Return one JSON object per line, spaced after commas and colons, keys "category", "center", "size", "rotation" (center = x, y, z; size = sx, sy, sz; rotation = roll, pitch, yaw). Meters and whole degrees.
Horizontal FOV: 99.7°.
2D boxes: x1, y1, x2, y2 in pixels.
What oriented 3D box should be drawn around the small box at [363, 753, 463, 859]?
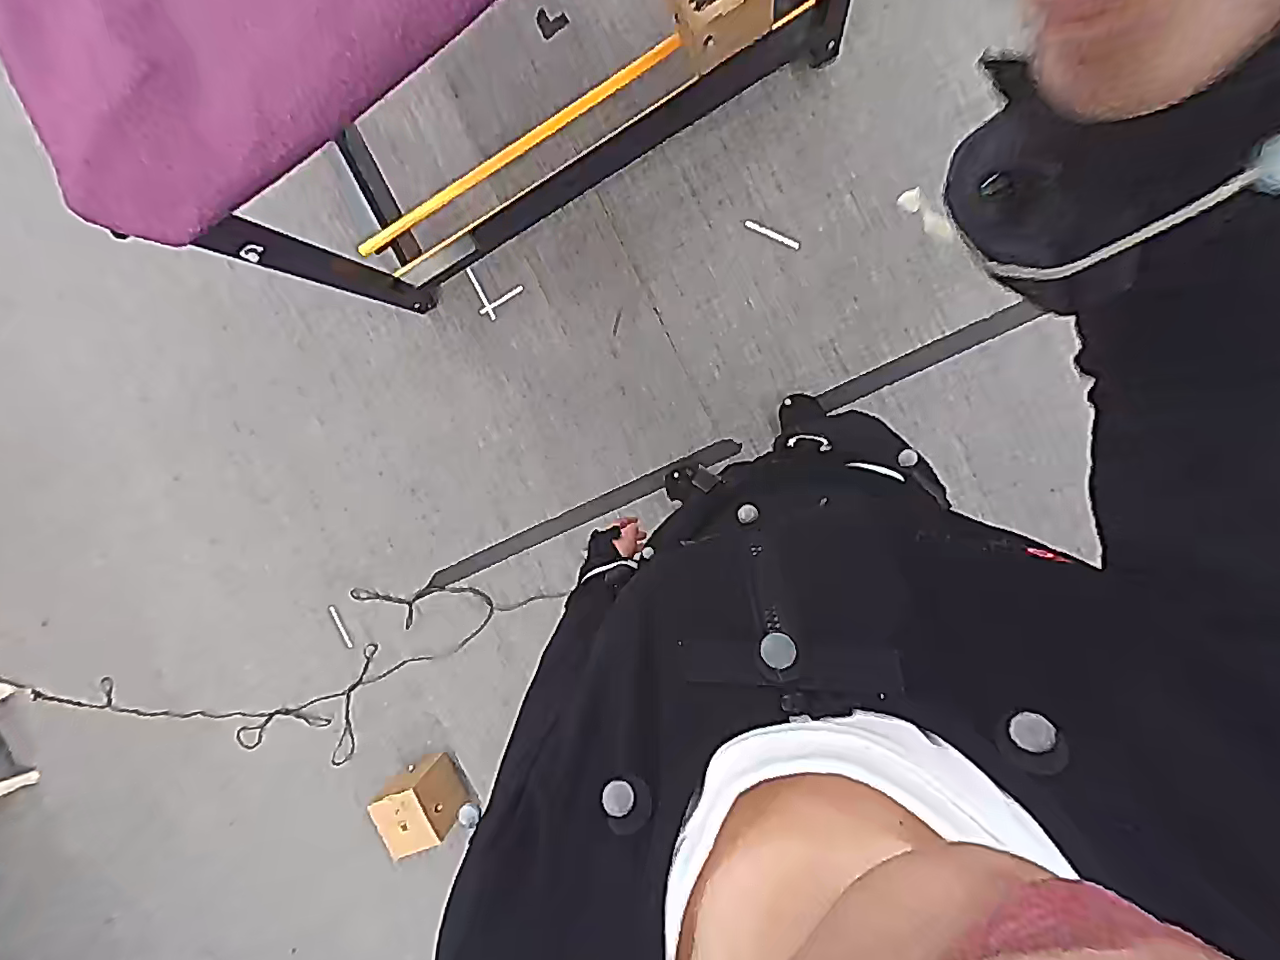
{"category": "small box", "center": [-0.642, 0.930, 1.552], "size": [0.168, 0.176, 0.179], "rotation": [-26, 92, 12]}
